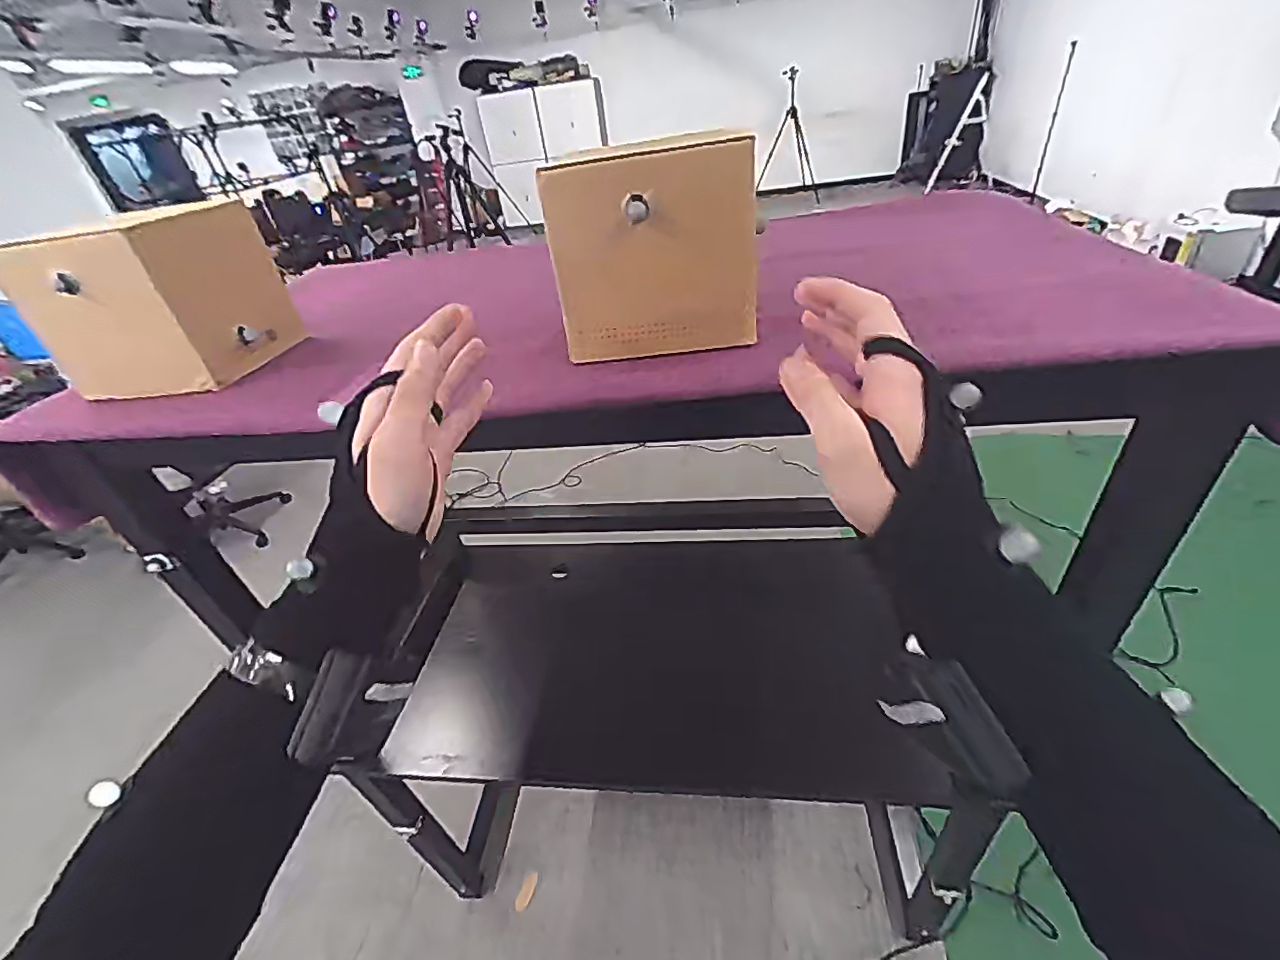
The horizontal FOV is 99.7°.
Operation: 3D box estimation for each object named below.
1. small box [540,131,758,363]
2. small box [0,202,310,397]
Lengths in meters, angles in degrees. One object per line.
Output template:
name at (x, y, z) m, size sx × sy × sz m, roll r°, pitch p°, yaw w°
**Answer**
small box at (0.020, -0.230, 0.535) m, size 0.179 × 0.176 × 0.168 m, roll -5°, pitch 34°, yaw 7°
small box at (-0.531, -0.203, 0.615) m, size 0.179 × 0.176 × 0.168 m, roll -2°, pitch 35°, yaw 8°
